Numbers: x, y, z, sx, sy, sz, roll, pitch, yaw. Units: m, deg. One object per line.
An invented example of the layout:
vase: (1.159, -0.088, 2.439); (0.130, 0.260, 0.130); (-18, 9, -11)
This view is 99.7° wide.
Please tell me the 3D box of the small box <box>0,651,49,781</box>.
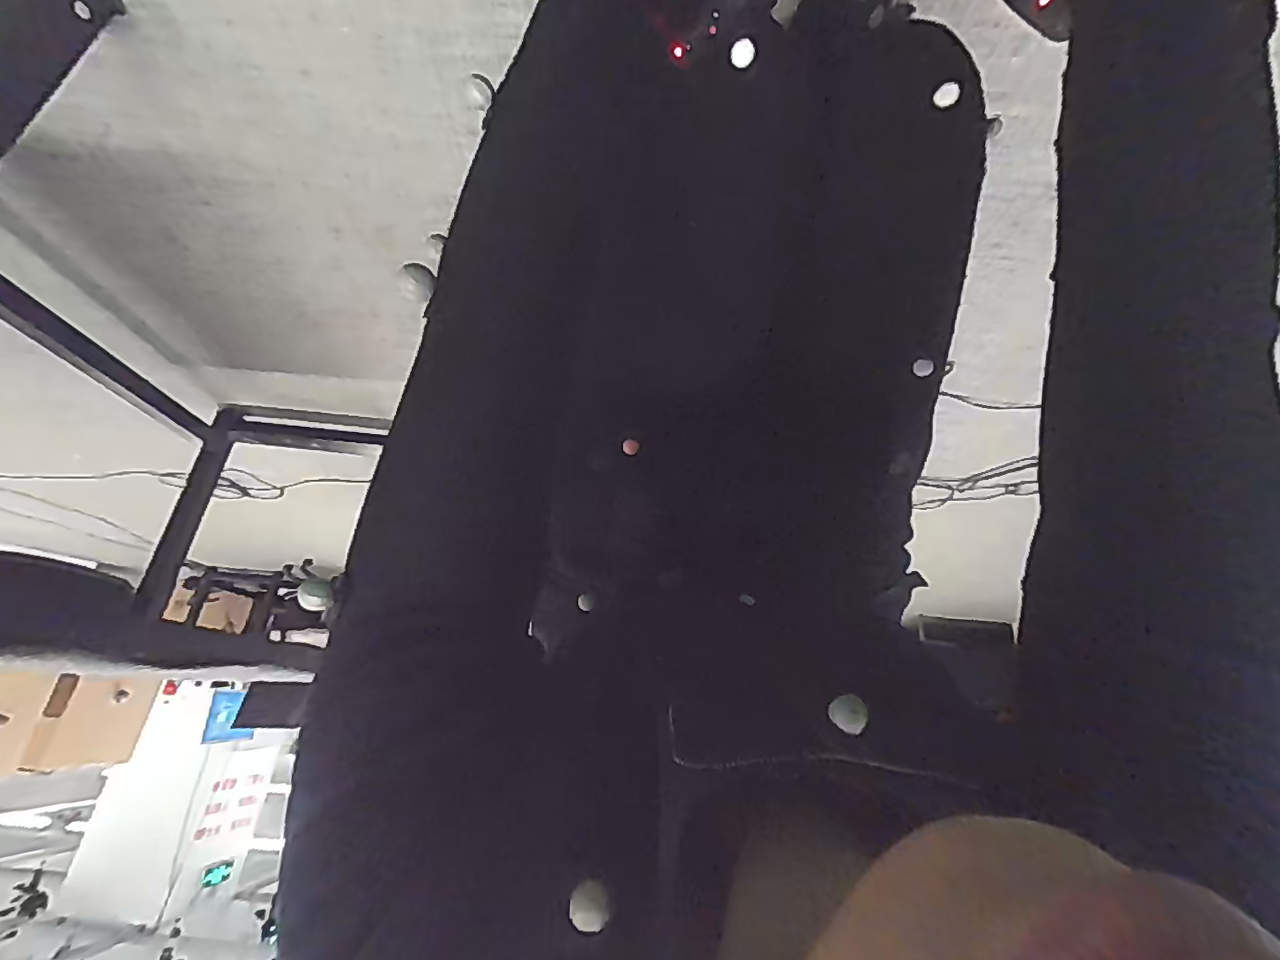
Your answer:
small box: (-0.963, 0.307, 0.717); (0.179, 0.176, 0.168); (5, 157, 2)

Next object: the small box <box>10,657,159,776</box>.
small box: (-0.993, 0.395, 0.922); (0.179, 0.176, 0.168); (5, 157, 3)
